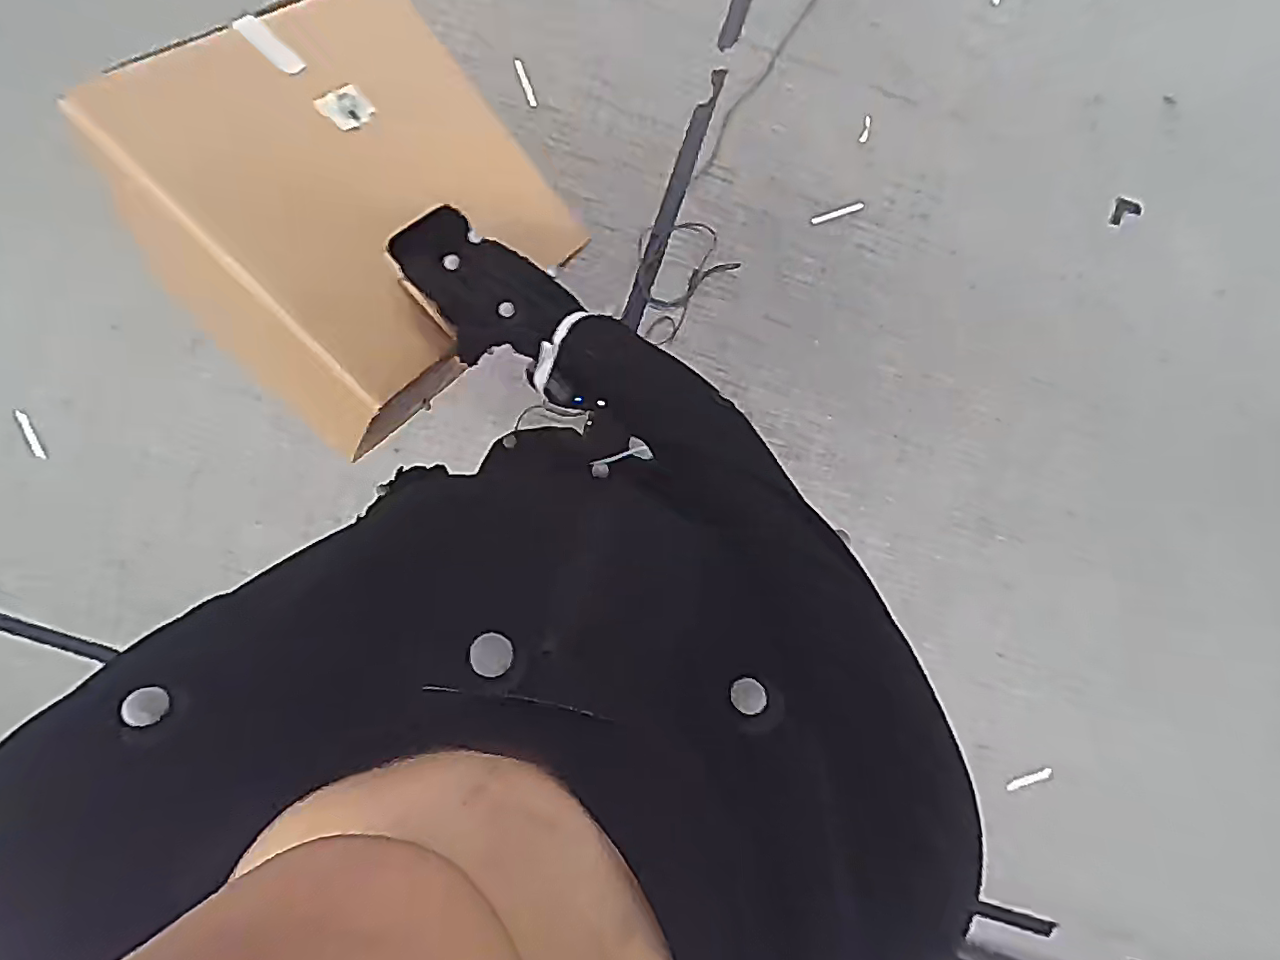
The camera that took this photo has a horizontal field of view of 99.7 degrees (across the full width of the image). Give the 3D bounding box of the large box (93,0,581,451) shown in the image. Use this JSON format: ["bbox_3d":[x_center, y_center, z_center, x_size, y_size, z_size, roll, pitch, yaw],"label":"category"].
[{"bbox_3d":[-0.348,-0.270,0.692,0.320,0.408,0.320,50,64,-18],"label":"large box"}]
